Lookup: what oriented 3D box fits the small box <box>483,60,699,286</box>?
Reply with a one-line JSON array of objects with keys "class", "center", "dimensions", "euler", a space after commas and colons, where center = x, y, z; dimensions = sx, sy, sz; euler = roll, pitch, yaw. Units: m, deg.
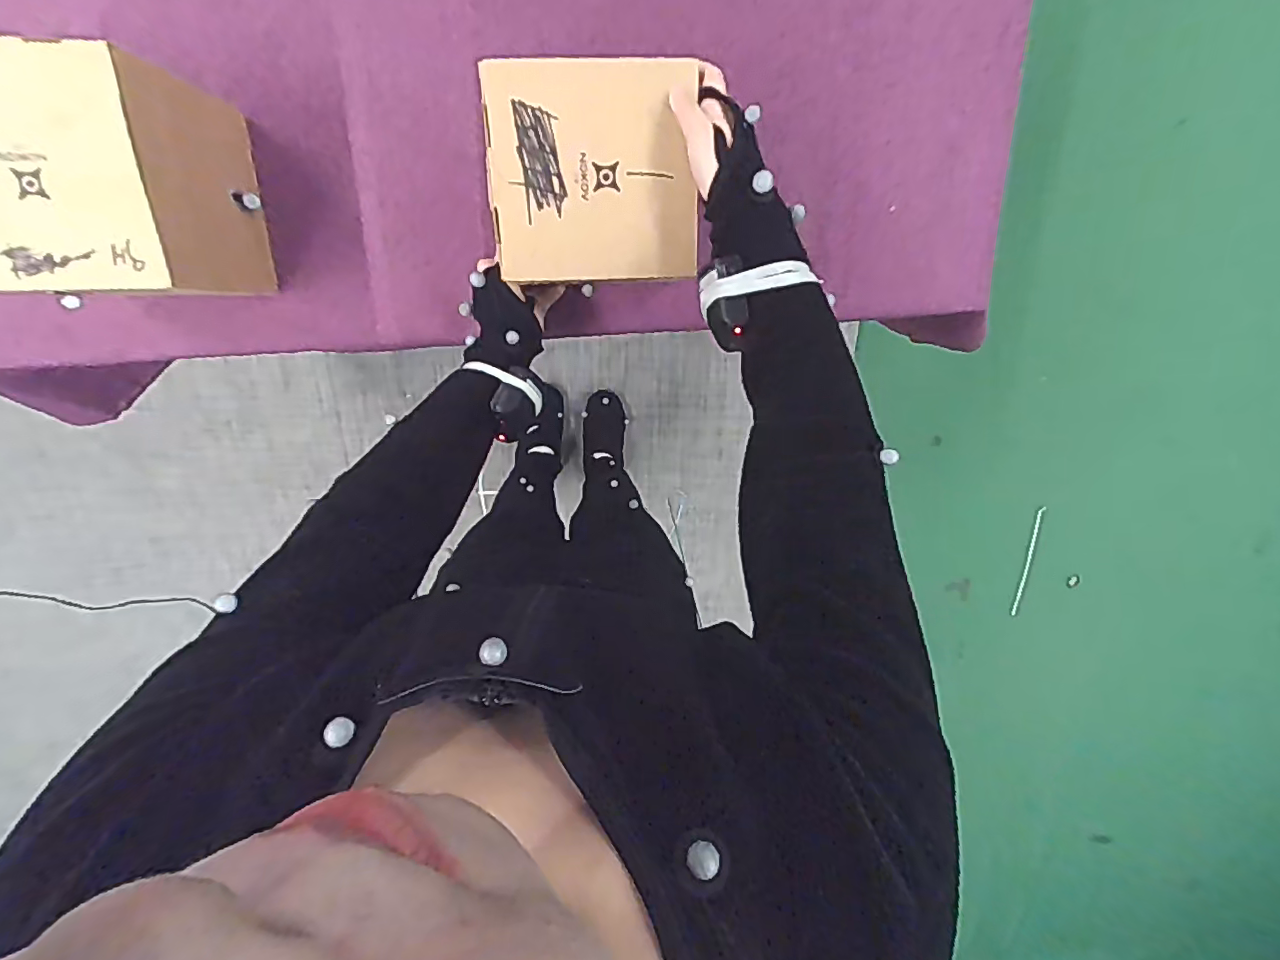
[{"class": "small box", "center": [-0.043, -0.280, 0.531], "dimensions": [0.179, 0.176, 0.168], "euler": [-2, 109, -4]}]

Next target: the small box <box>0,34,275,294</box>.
[{"class": "small box", "center": [-0.476, -0.267, 0.496], "dimensions": [0.168, 0.176, 0.179], "euler": [-1, 108, -5]}]
